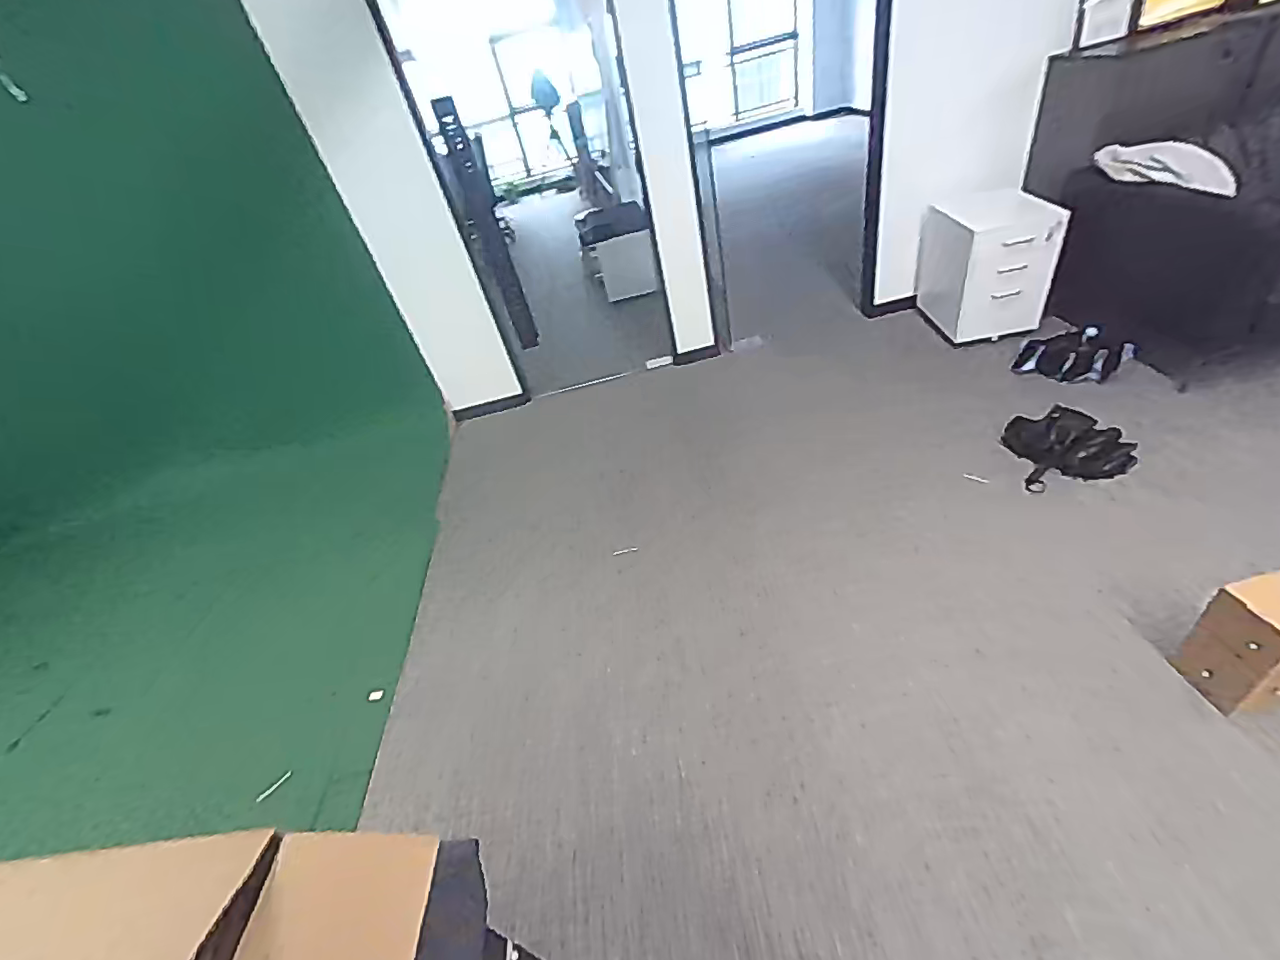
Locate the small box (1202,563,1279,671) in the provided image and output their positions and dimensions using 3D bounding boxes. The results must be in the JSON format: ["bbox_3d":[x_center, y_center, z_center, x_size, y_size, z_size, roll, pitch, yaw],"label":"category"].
[{"bbox_3d":[1.474,0.317,1.250,0.179,0.176,0.168,-14,41,0],"label":"small box"}]

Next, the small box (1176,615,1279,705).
[{"bbox_3d":[1.512,0.436,1.354,0.179,0.176,0.168,-16,40,1],"label":"small box"}]
